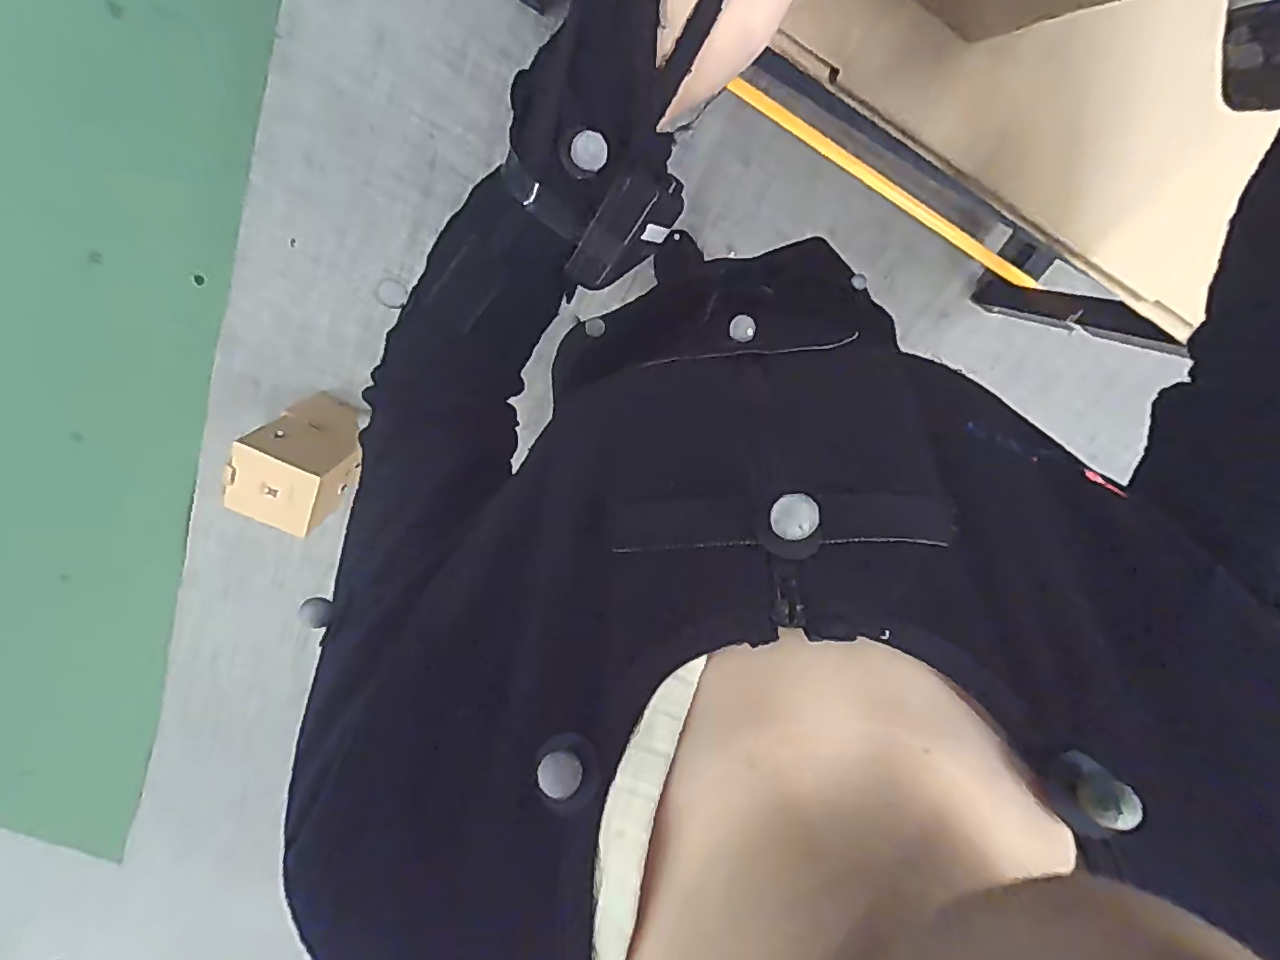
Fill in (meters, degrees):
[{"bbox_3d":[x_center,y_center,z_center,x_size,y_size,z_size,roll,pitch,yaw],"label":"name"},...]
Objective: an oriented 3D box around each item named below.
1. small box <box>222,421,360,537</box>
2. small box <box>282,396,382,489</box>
[{"bbox_3d":[-0.749,-0.011,1.172,0.179,0.176,0.168,25,114,-10],"label":"small box"},{"bbox_3d":[-0.761,-0.081,1.319,0.168,0.176,0.179,28,113,-11],"label":"small box"}]
